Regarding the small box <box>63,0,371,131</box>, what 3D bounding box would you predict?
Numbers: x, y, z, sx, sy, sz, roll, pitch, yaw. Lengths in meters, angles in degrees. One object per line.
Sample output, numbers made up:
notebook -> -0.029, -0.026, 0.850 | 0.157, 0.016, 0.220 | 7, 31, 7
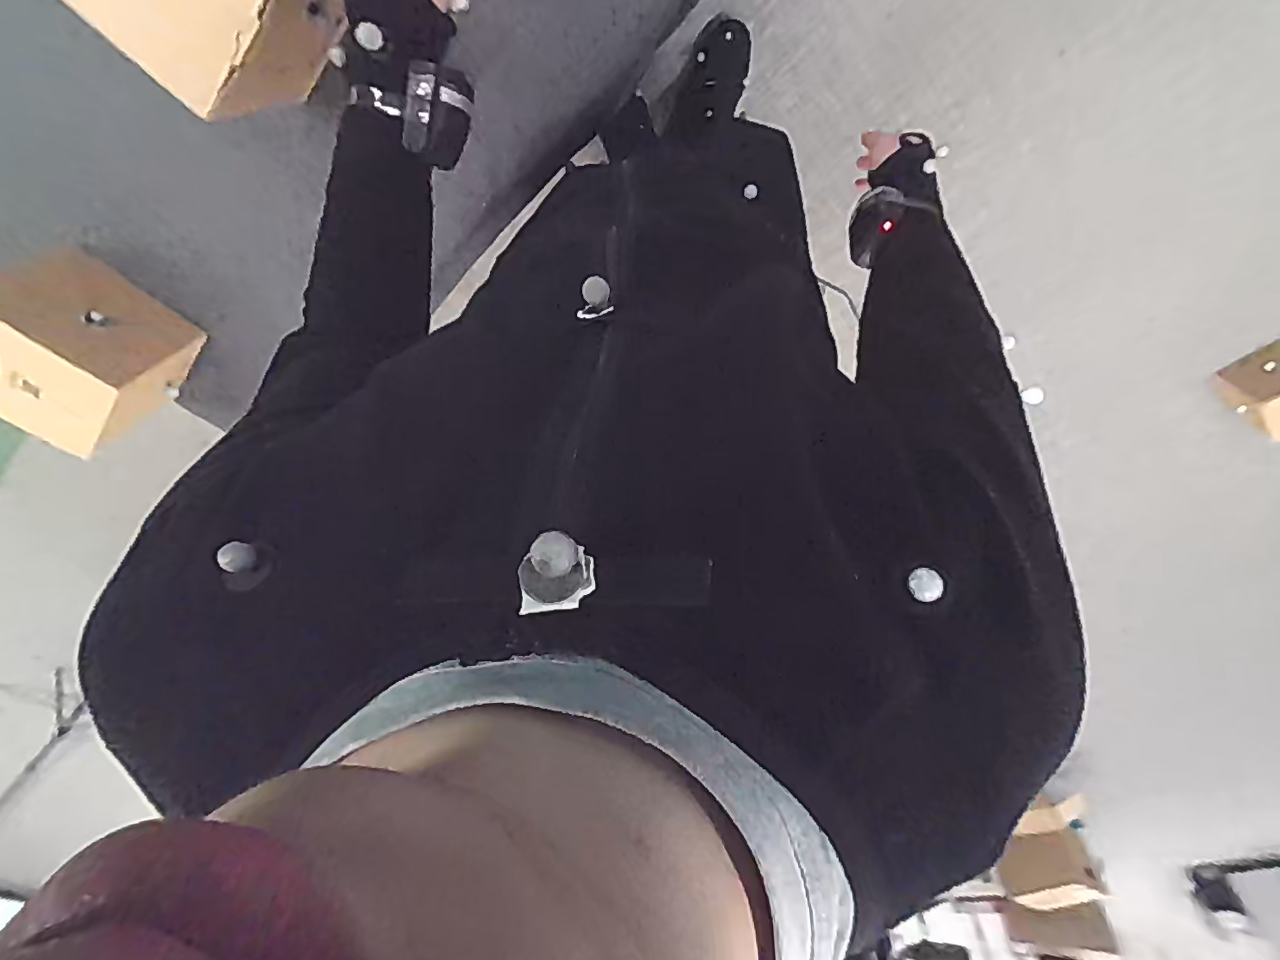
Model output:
small box -> -0.372, -0.455, 0.473 | 0.168, 0.176, 0.179 | -35, 120, 27

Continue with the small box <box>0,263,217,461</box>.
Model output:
small box -> -0.737, -0.166, 0.731 | 0.168, 0.176, 0.179 | -36, 120, 28

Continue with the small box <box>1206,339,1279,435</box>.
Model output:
small box -> 1.733, -0.265, 1.491 | 0.179, 0.176, 0.168 | 38, 122, -25
